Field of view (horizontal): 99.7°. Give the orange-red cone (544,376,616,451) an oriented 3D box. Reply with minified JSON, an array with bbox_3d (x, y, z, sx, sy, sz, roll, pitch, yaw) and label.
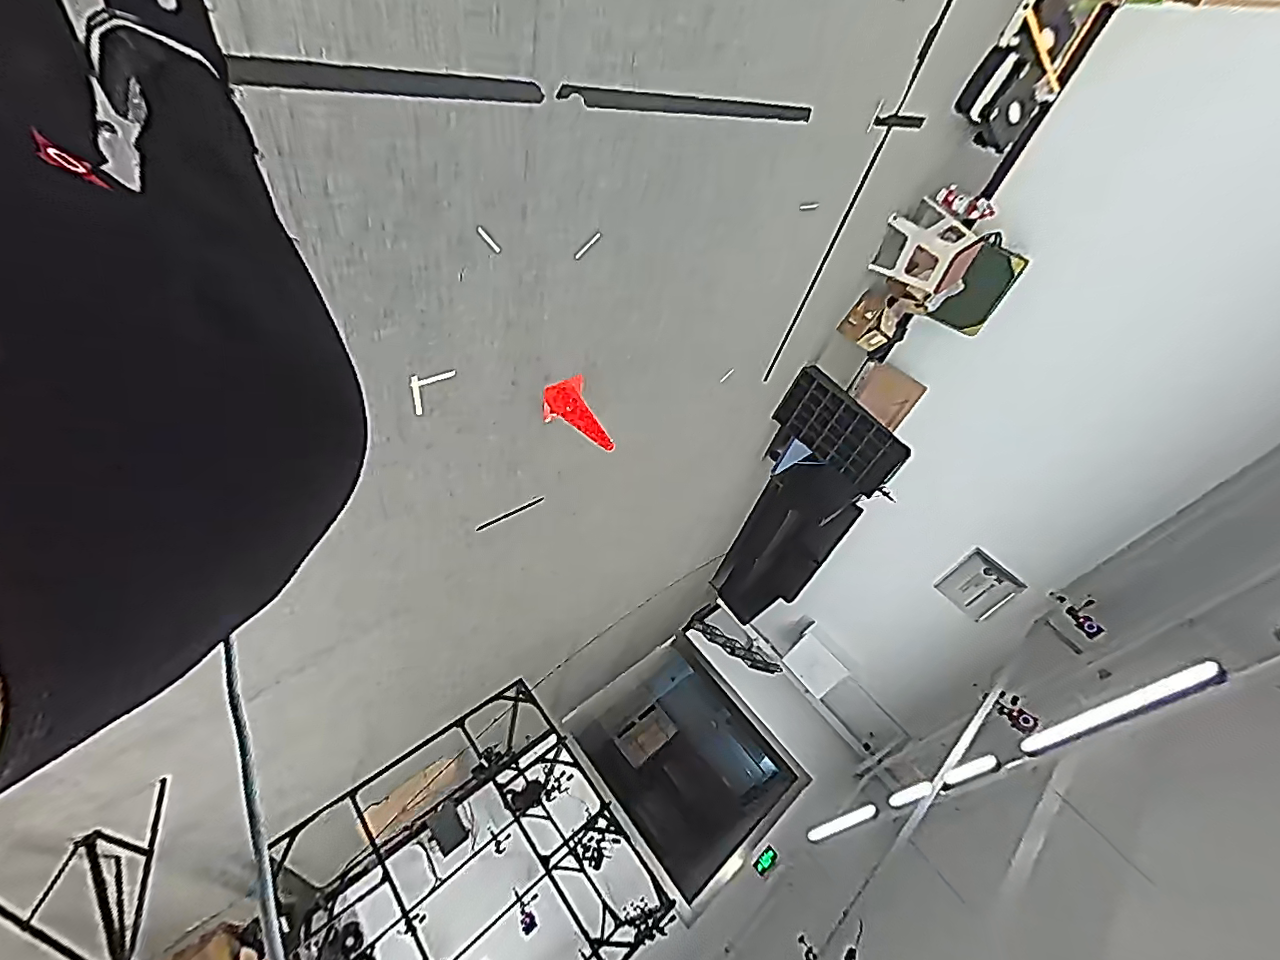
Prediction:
[{"bbox_3d":[-0.227,-0.251,2.314,0.199,0.360,0.198,-30,153,-31],"label":"orange-red cone"}]
